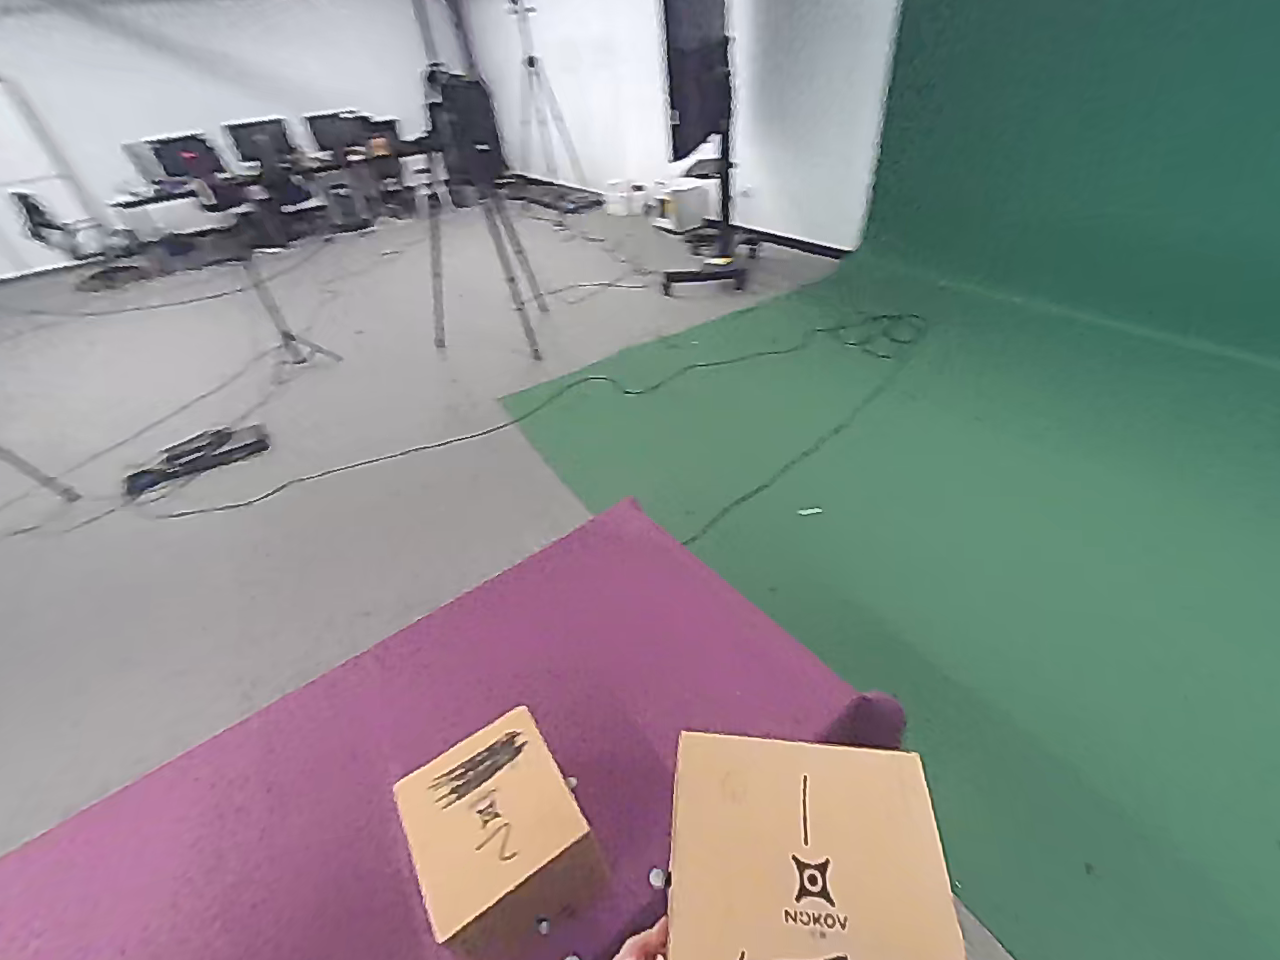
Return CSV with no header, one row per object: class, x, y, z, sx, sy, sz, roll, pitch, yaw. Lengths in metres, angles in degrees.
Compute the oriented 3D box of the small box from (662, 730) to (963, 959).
small box,0.102,0.300,0.376,0.168,0.176,0.179,4,47,6
